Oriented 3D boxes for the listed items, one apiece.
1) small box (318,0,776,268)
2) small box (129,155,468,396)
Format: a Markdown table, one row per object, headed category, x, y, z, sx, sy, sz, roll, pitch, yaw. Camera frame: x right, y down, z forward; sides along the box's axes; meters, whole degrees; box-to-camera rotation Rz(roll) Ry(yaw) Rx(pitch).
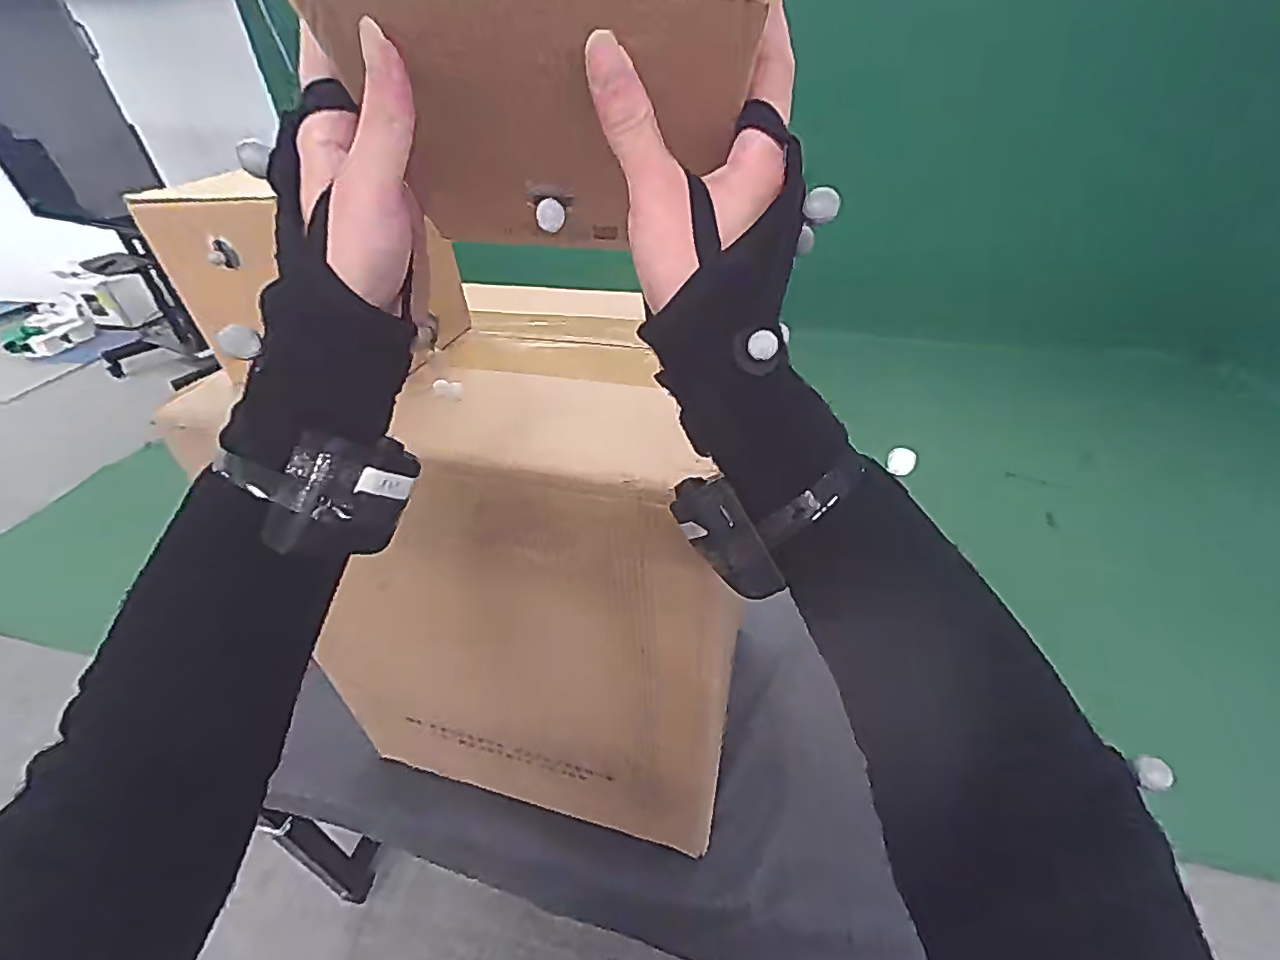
| category | x | y | z | sx | sy | sz | roll | pitch | yaw |
| --- | --- | --- | --- | --- | --- | --- | --- | --- | --- |
| small box | -0.033 | -0.234 | 0.266 | 0.168 | 0.179 | 0.176 | 4 | -7 | -1 |
| small box | -0.294 | -0.194 | 0.510 | 0.179 | 0.176 | 0.168 | 9 | 42 | 13 |
